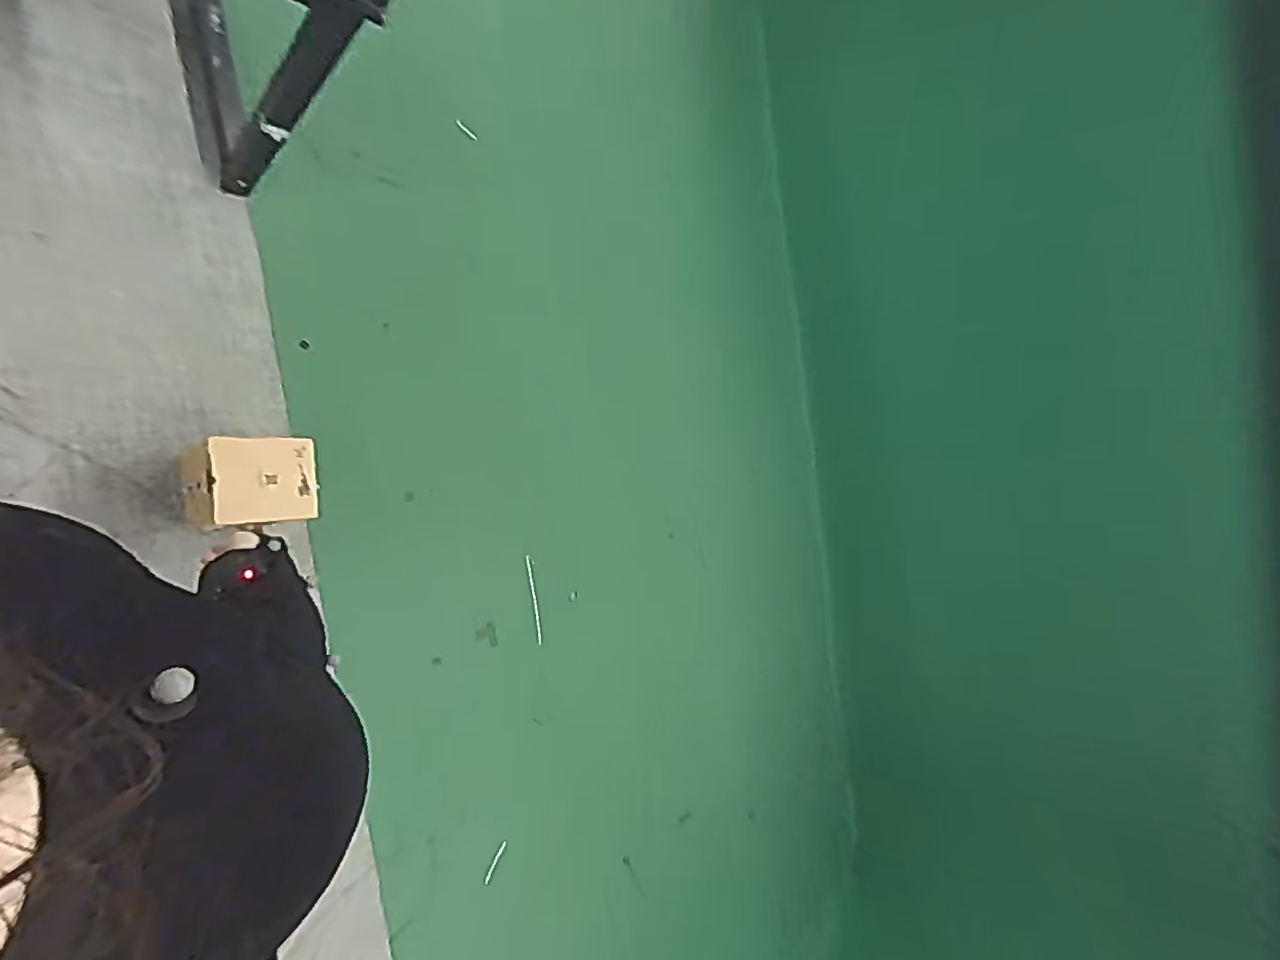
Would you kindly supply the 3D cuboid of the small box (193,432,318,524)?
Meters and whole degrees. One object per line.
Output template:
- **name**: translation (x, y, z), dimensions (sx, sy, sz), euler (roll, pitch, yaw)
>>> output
- **small box**: translation (-0.777, 0.000, 1.087), dimensions (0.179, 0.176, 0.168), euler (-3, 88, -49)
